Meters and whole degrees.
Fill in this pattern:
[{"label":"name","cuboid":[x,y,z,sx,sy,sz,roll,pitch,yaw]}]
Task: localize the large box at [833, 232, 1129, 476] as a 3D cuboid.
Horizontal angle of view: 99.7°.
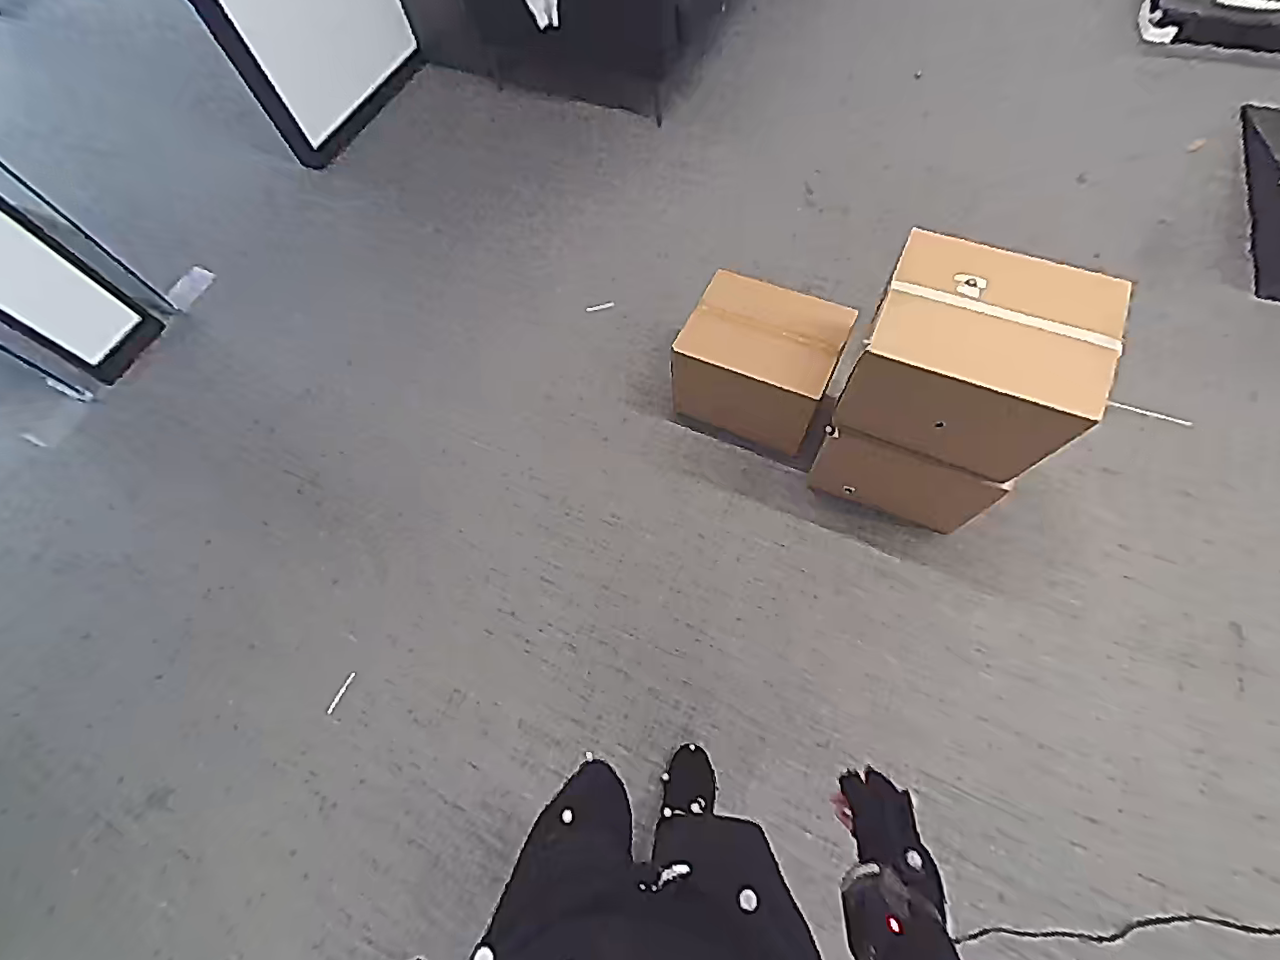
[{"label":"large box","cuboid":[0.676,-0.250,1.134,0.408,0.320,0.320,21,74,15]}]
